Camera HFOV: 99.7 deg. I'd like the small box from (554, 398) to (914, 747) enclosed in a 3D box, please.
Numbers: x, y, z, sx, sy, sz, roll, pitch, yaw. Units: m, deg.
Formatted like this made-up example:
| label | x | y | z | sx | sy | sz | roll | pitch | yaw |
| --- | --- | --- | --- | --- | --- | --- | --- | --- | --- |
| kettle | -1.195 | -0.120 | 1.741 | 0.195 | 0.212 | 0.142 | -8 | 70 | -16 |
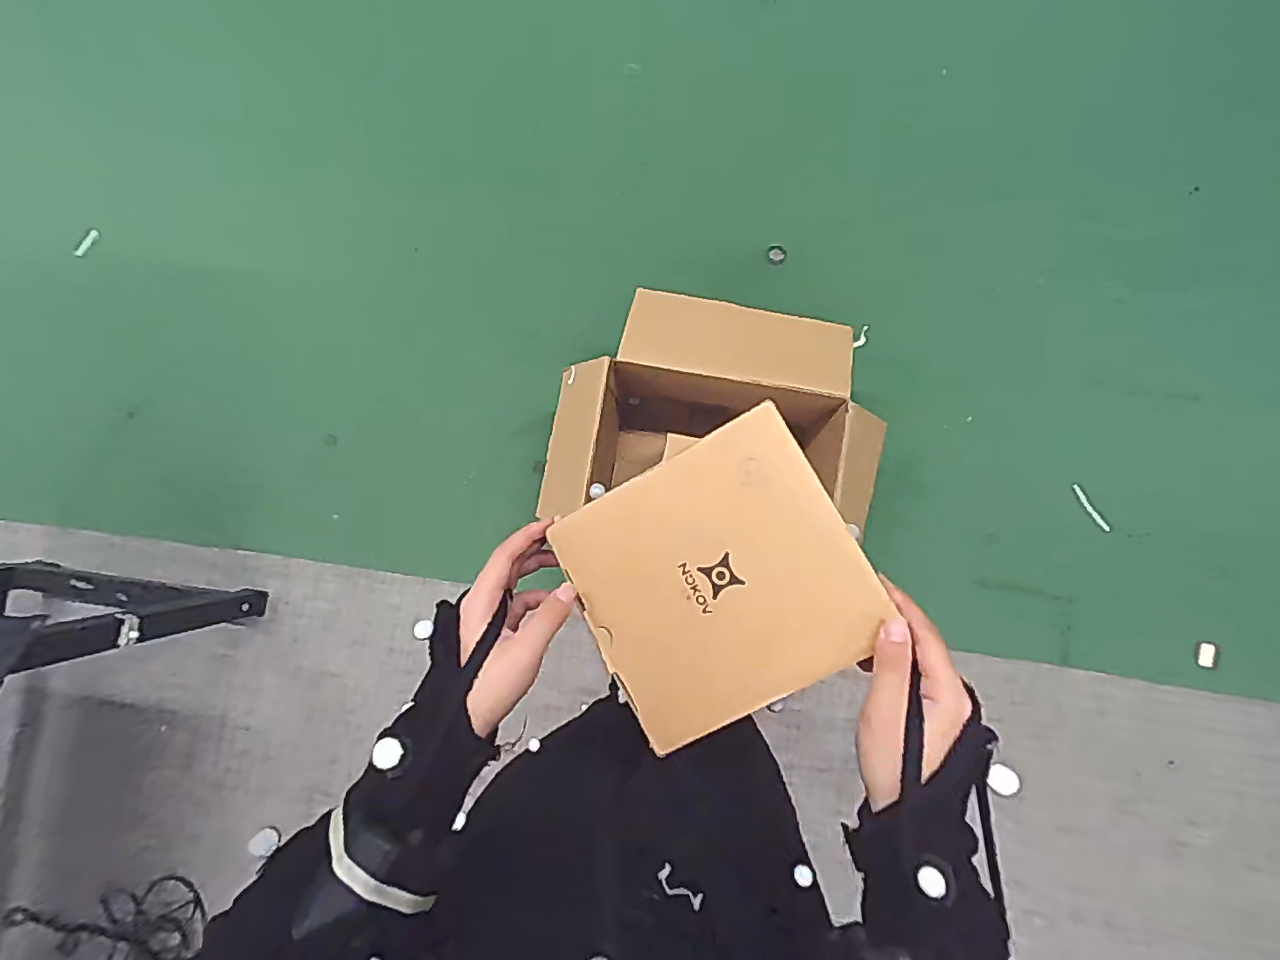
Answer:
| label | x | y | z | sx | sy | sz | roll | pitch | yaw |
| --- | --- | --- | --- | --- | --- | --- | --- | --- | --- |
| small box | 0.066 | 0.062 | 0.418 | 0.179 | 0.176 | 0.168 | -30 | 81 | 8 |
